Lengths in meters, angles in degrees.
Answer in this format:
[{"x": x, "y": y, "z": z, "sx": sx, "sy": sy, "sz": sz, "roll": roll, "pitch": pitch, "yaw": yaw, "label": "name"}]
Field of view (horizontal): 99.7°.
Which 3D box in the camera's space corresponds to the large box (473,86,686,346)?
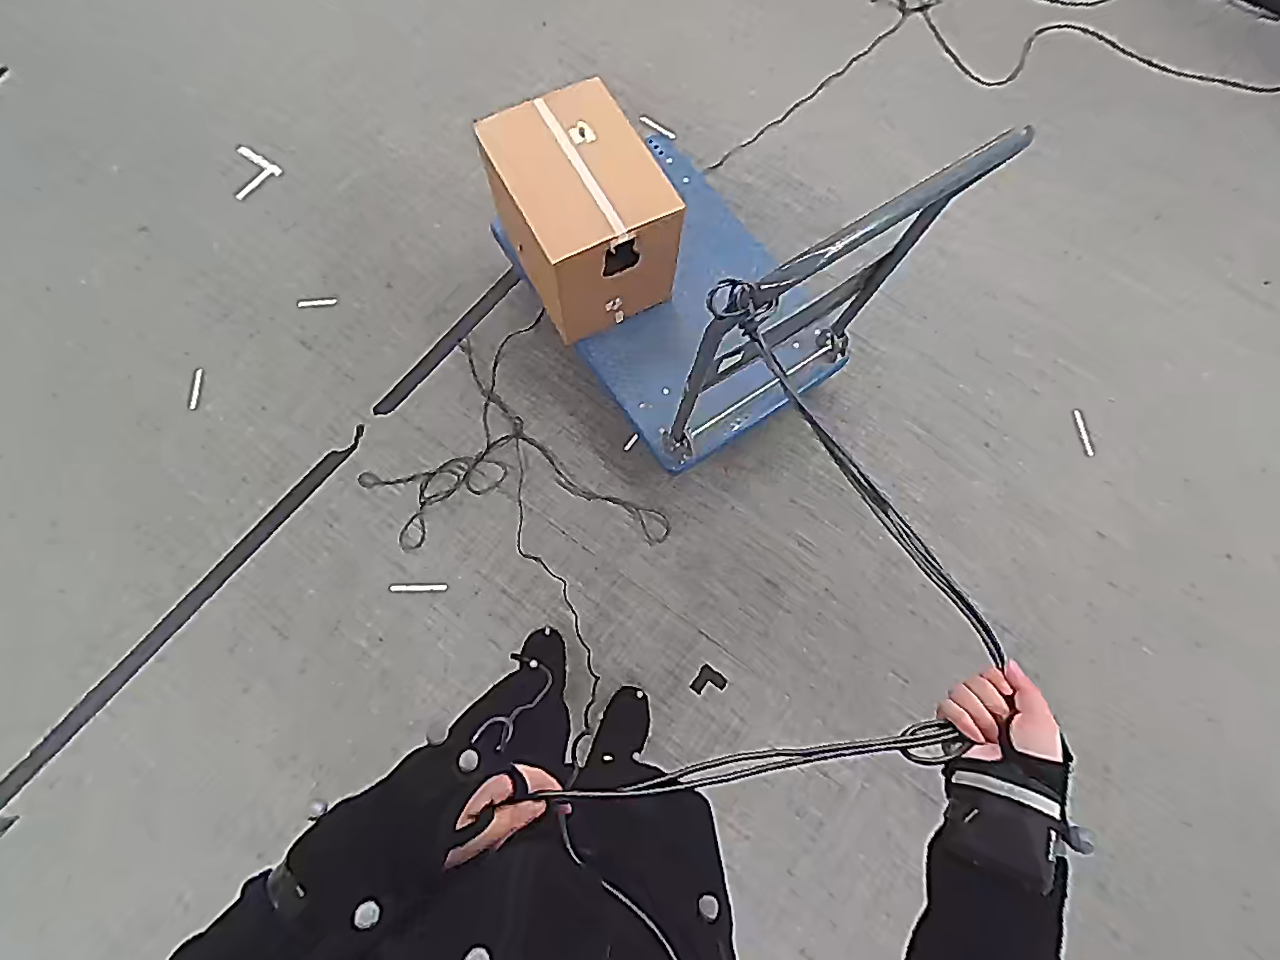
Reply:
[{"x": -0.134, "y": -0.605, "z": 1.280, "sx": 0.320, "sy": 0.320, "sz": 0.408, "roll": -27, "pitch": 76, "yaw": -10, "label": "large box"}]
